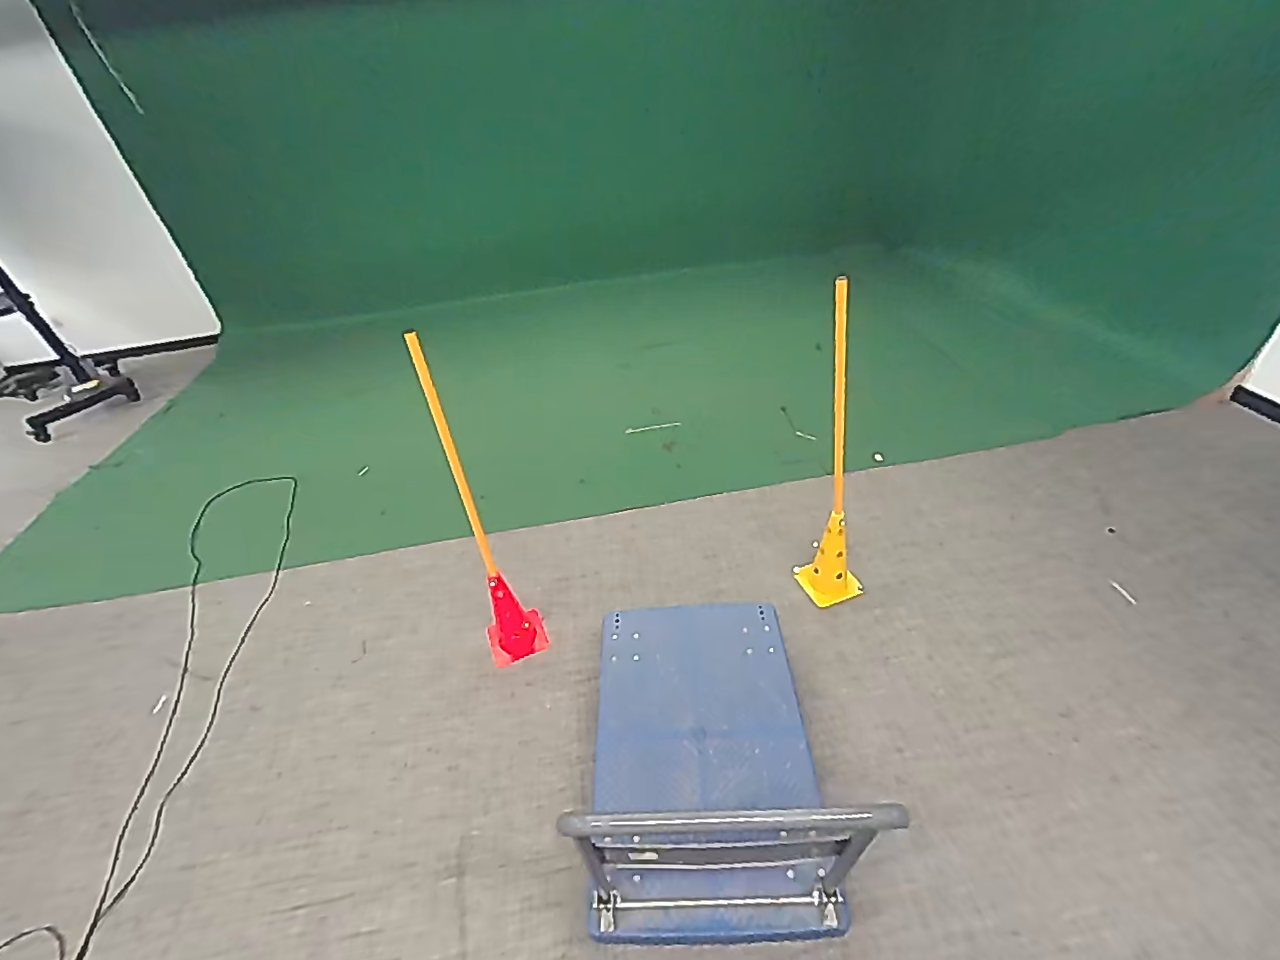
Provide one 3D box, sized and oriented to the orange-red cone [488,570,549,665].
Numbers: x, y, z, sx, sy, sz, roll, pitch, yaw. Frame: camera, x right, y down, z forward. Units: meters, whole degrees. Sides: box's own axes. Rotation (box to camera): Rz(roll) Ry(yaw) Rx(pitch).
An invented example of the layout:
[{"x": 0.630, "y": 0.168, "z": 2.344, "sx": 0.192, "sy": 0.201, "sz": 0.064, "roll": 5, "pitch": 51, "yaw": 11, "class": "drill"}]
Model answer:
[{"x": -0.469, "y": 0.449, "z": 1.901, "sx": 0.199, "sy": 0.360, "sz": 0.198, "roll": -20, "pitch": 40, "yaw": -13, "class": "orange-red cone"}]
